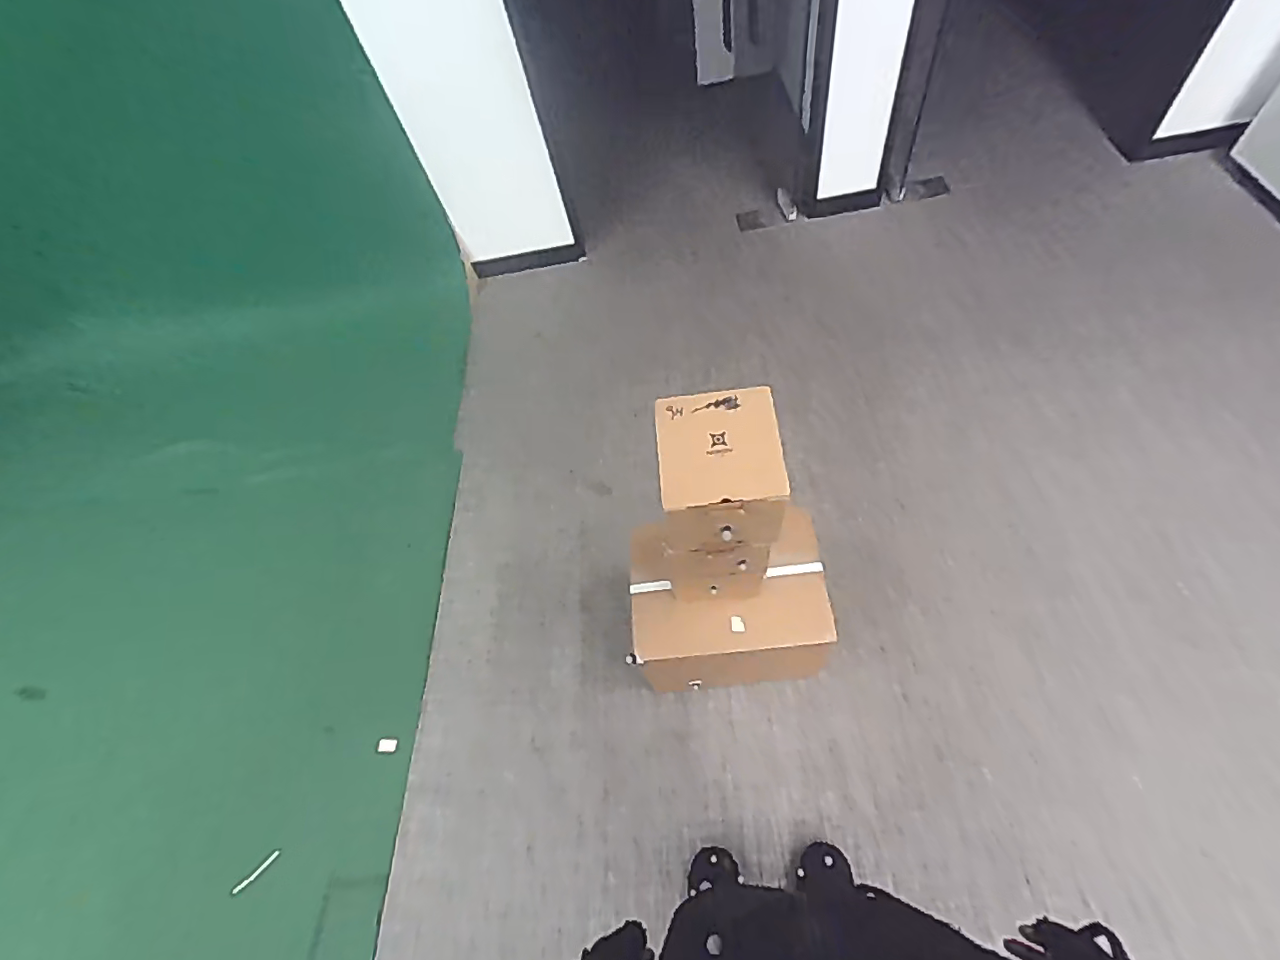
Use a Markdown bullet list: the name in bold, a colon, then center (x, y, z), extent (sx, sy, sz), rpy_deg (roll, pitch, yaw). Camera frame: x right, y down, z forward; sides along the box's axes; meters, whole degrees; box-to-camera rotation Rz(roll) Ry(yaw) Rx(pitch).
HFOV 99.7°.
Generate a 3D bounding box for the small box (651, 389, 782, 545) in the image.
- **small box**: center (0.112, -0.008, 0.805), extent (0.168, 0.176, 0.179), rpy_deg (-7, 65, 6)

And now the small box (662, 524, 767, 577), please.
- **small box**: center (0.126, 0.065, 0.951), extent (0.168, 0.176, 0.179), rpy_deg (-7, 63, 6)

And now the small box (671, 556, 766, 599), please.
- **small box**: center (0.150, 0.136, 1.094), extent (0.179, 0.176, 0.168), rpy_deg (-8, 64, 6)
